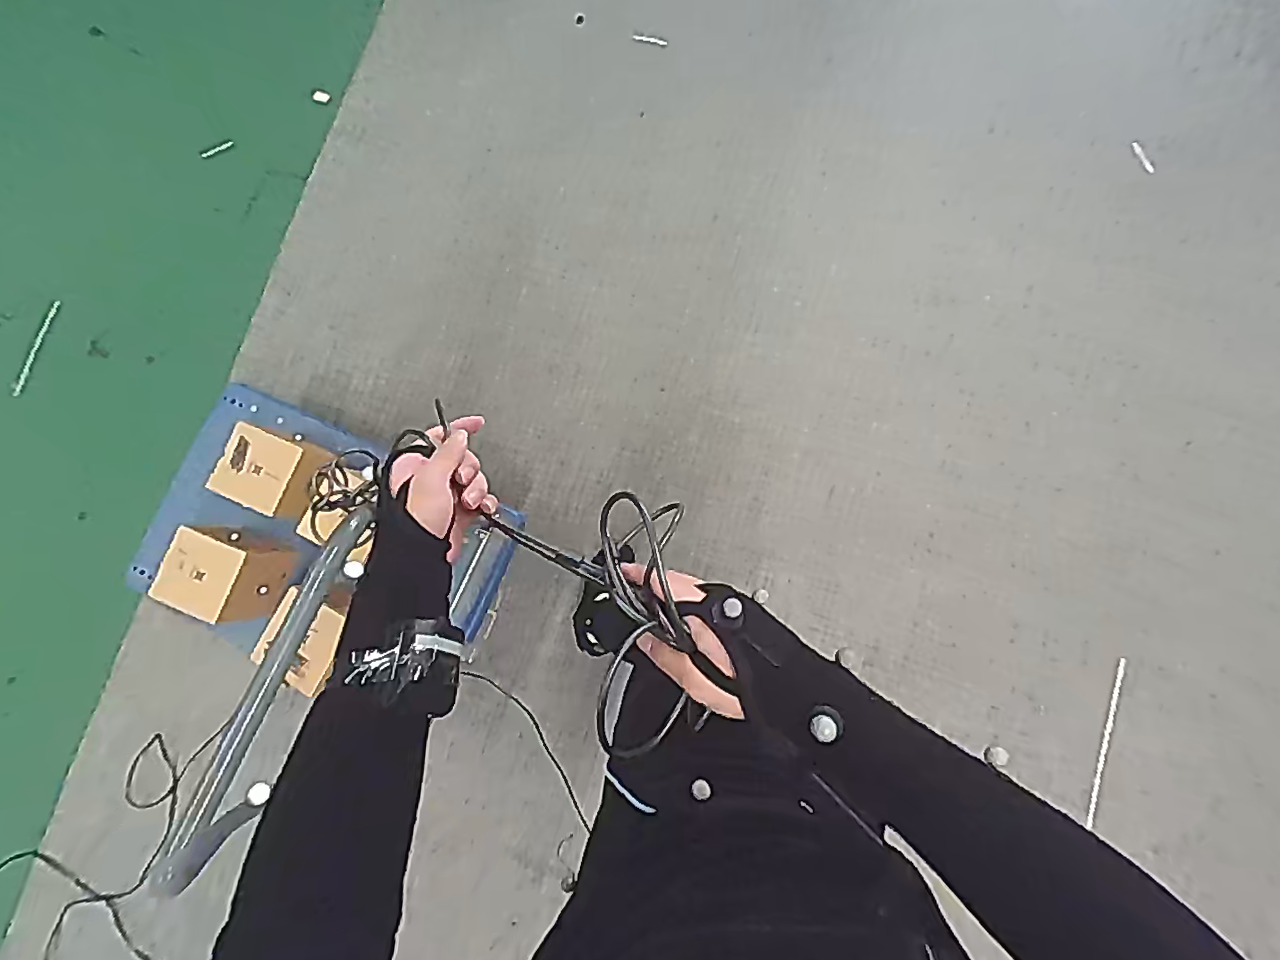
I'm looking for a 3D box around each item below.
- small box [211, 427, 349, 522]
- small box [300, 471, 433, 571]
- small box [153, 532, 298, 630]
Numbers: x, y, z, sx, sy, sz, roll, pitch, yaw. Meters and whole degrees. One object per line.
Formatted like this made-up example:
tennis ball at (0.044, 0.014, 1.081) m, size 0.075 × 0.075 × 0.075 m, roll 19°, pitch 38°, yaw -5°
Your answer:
small box at (-0.835, -0.003, 1.270) m, size 0.179 × 0.176 × 0.168 m, roll 22°, pitch 86°, yaw 6°
small box at (-0.617, 0.099, 1.242) m, size 0.179 × 0.176 × 0.168 m, roll 26°, pitch 85°, yaw 7°
small box at (-0.943, 0.227, 1.250) m, size 0.179 × 0.176 × 0.168 m, roll 21°, pitch 84°, yaw 7°
